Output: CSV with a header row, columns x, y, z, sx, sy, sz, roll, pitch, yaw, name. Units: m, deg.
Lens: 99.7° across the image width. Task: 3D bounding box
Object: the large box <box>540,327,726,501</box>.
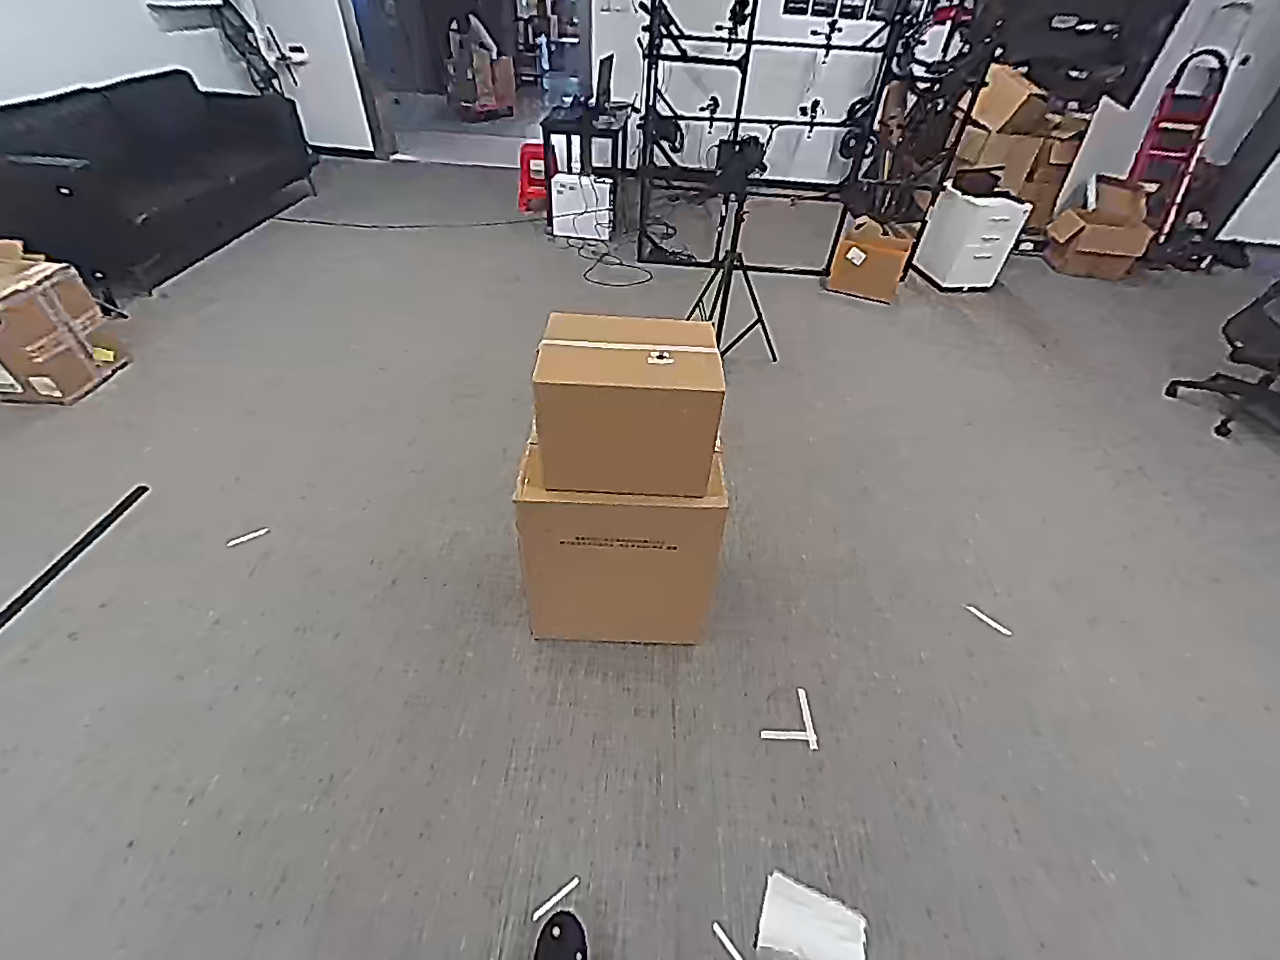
x,y,z,sx,sy,sz,roll,pitch,yaw,name
-0.026,-0.163,1.345,0.408,0.320,0.320,3,42,-3,large box
